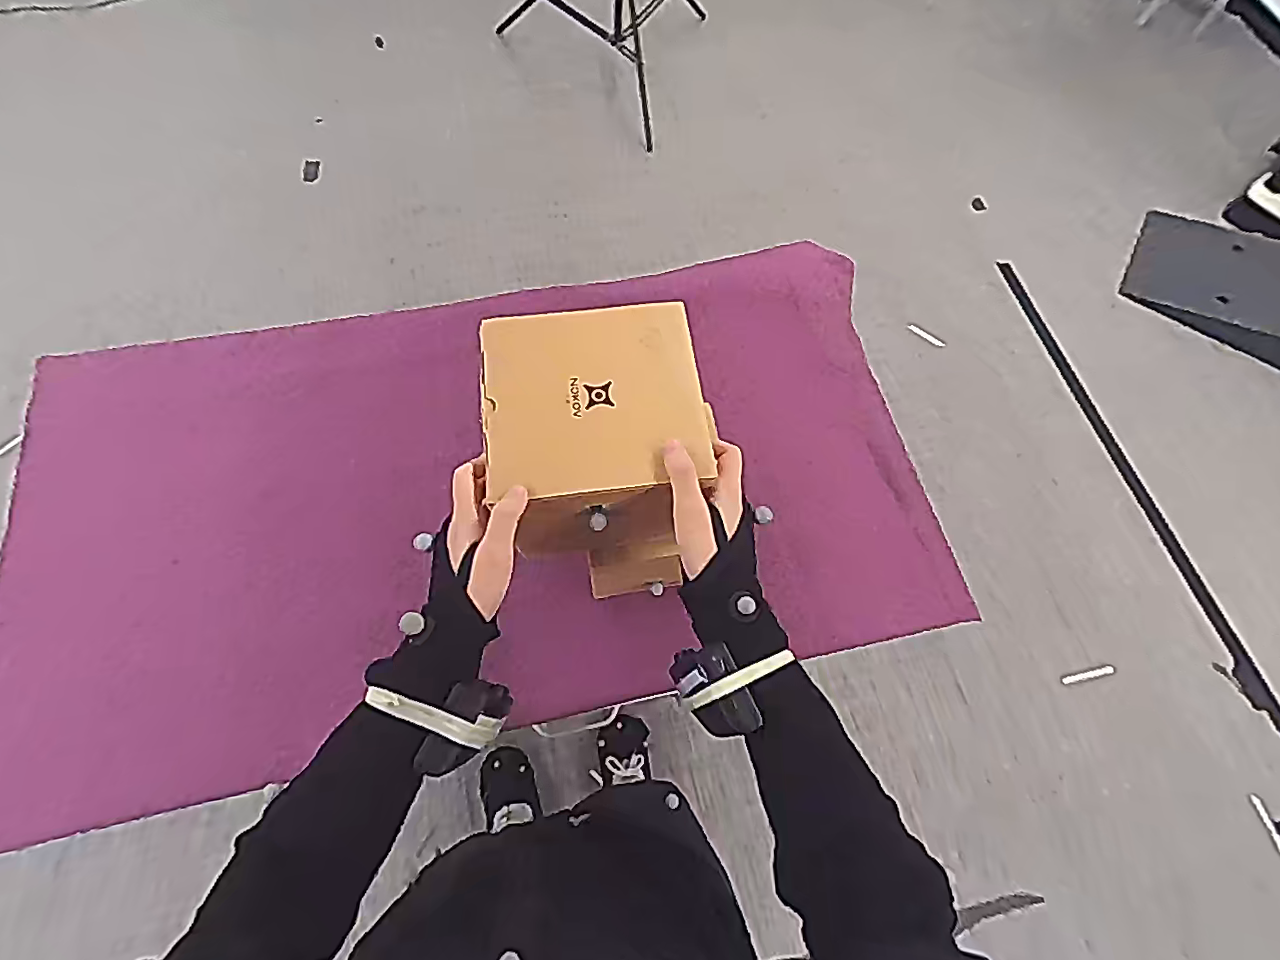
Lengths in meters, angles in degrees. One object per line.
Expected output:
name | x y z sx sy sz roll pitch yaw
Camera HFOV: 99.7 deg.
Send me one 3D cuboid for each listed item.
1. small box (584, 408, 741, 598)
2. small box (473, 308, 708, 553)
small box | 0.010 0.035 0.667 0.168 0.176 0.179 -8 68 -6
small box | -0.046 -0.035 0.507 0.179 0.176 0.168 -7 70 -3
